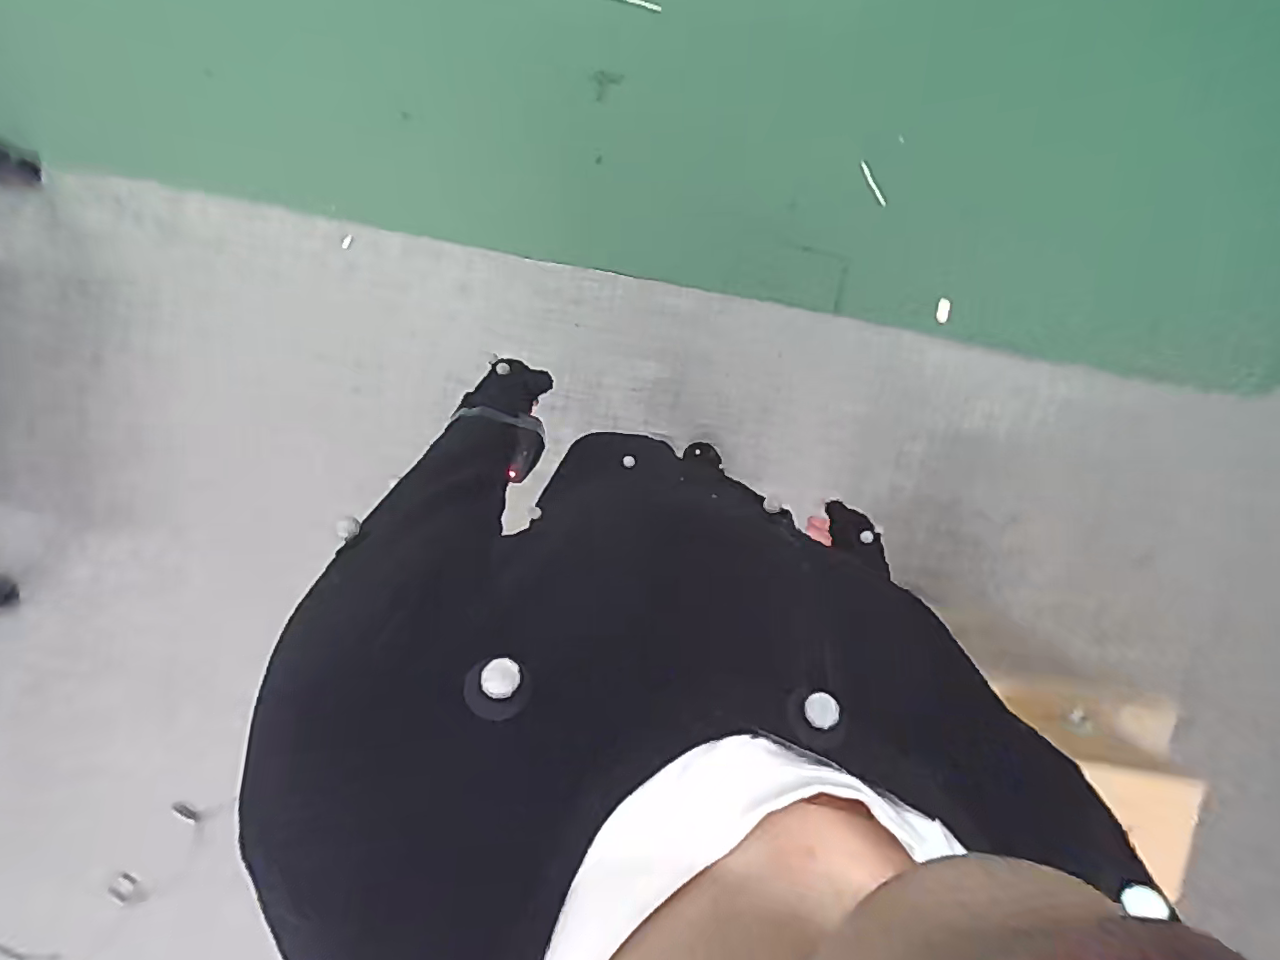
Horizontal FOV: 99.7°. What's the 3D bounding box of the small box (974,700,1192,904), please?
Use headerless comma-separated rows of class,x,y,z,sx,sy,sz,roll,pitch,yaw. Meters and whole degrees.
small box,0.618,0.450,0.781,0.168,0.176,0.179,9,94,3
